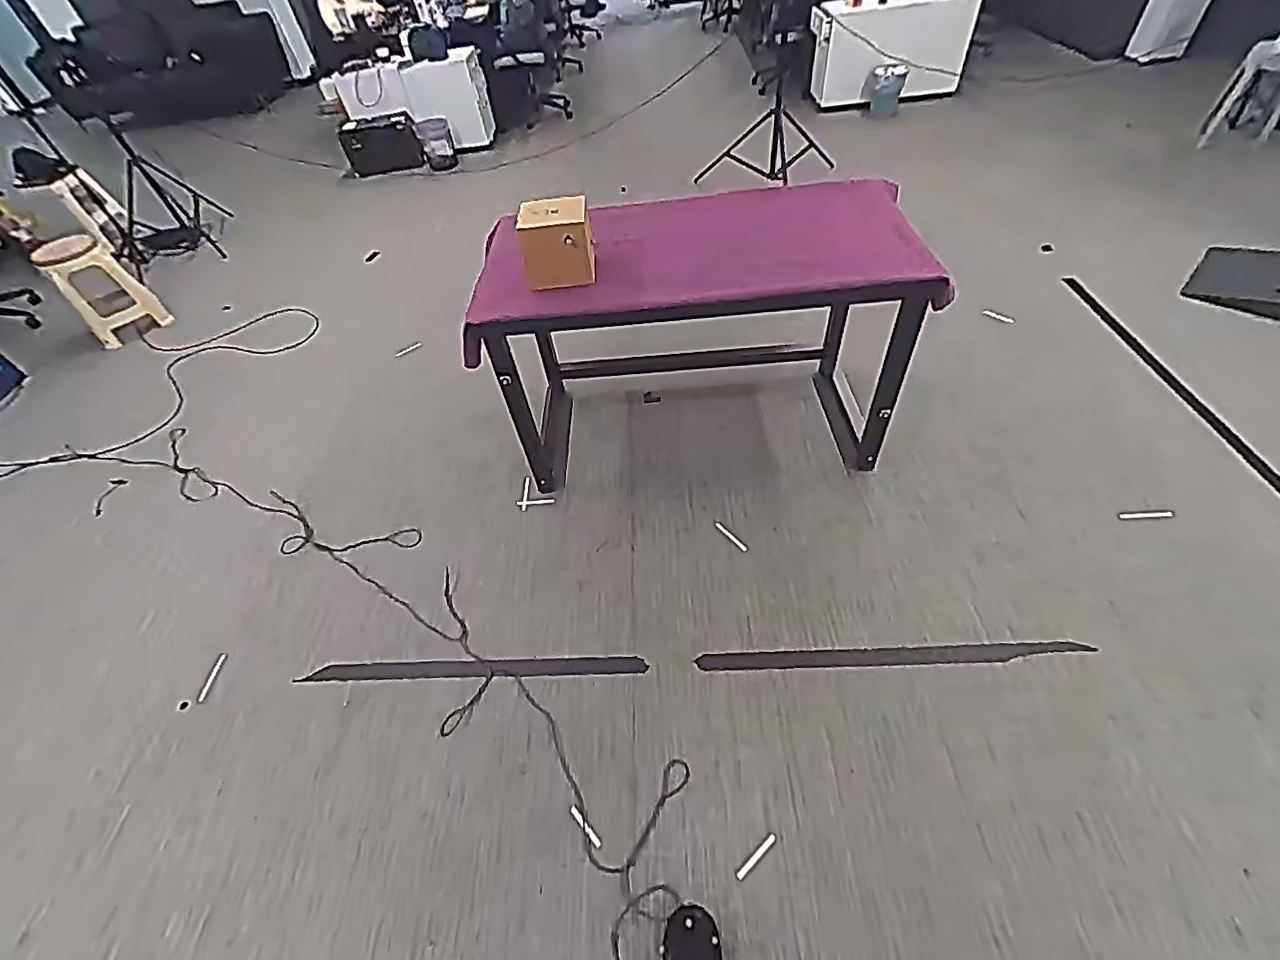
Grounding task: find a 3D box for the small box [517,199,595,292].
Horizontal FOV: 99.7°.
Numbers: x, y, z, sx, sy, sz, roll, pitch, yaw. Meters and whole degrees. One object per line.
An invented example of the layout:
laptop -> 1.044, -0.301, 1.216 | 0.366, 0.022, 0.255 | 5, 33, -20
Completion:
small box -> -0.217, -0.627, 1.450 | 0.179, 0.176, 0.168 | -6, 47, 2
